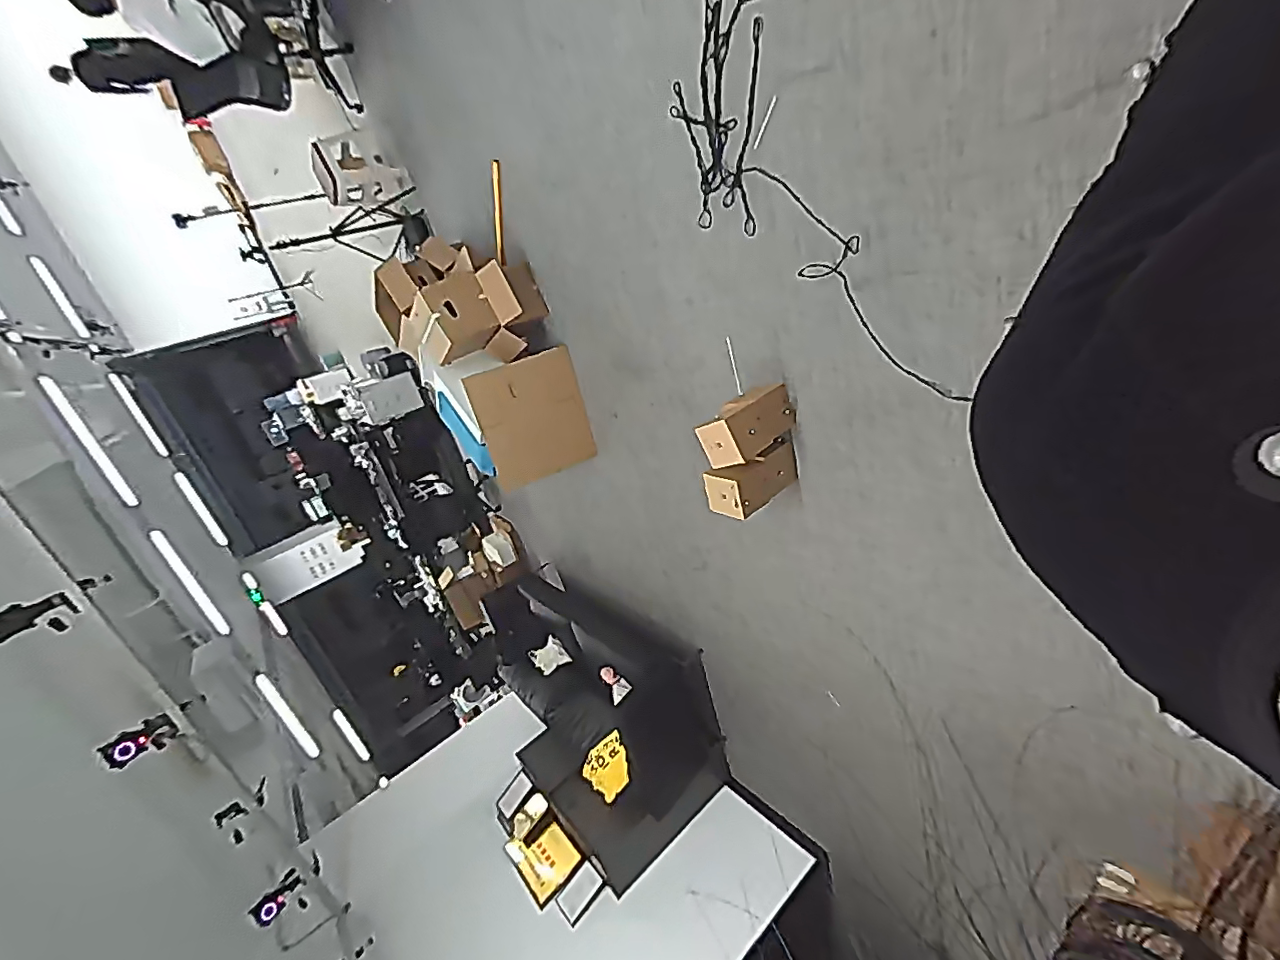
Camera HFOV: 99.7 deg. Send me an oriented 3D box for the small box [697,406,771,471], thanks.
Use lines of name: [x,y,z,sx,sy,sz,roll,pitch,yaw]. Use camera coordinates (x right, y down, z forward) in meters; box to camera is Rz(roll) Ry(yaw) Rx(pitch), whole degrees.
small box: [0.343,-0.147,1.926,0.179,0.176,0.168,-12,106,60]

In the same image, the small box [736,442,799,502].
small box: [0.498,-0.040,2.113,0.168,0.176,0.179,16,129,52]
